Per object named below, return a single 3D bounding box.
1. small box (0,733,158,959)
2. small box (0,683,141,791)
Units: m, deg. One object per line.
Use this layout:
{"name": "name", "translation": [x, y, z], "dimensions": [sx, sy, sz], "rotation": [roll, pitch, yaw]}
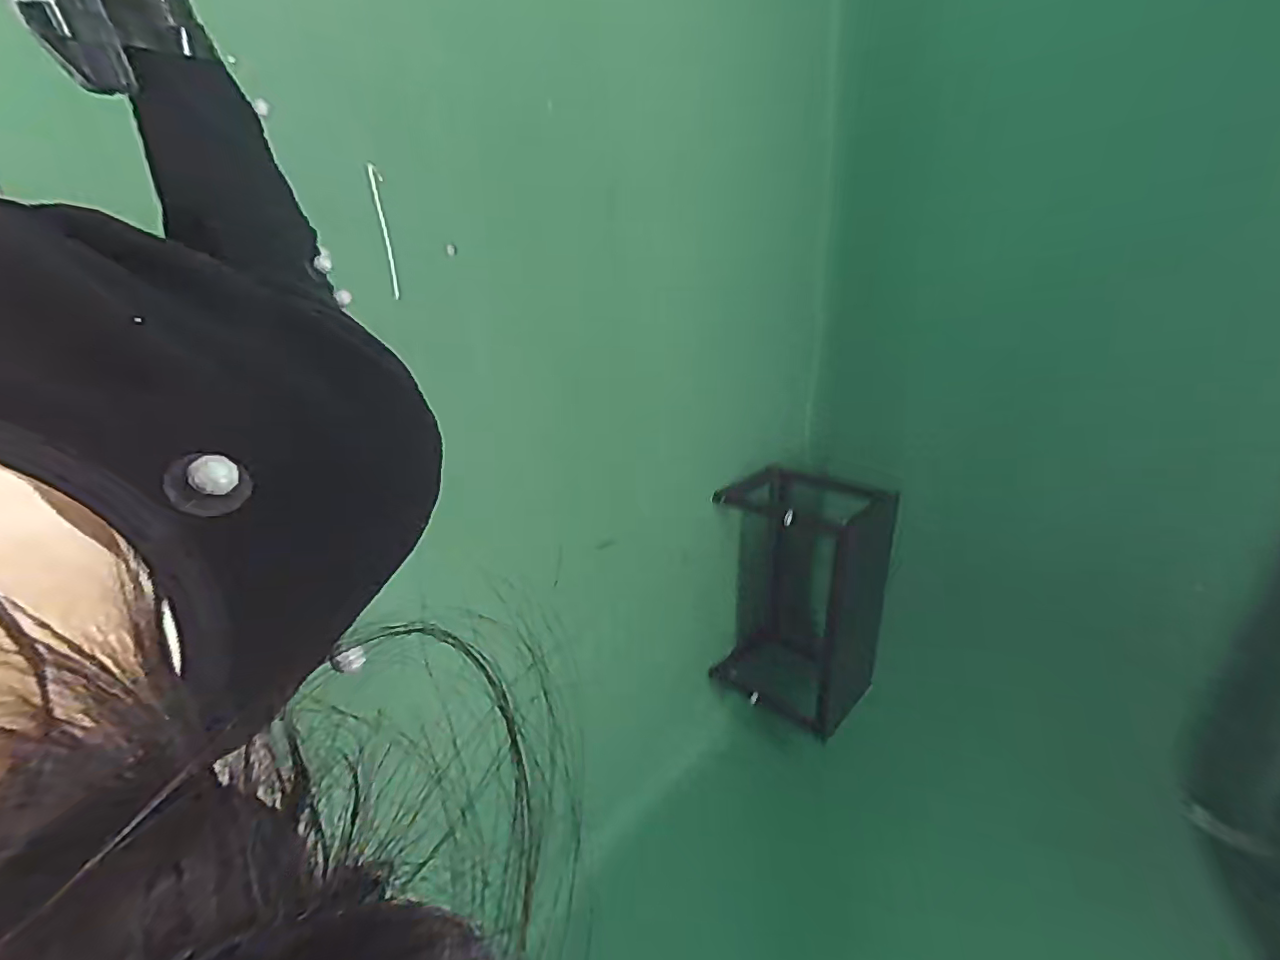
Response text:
{"name": "small box", "translation": [-0.831, 0.501, 0.751], "dimensions": [0.179, 0.176, 0.168], "rotation": [-40, 130, -34]}
{"name": "small box", "translation": [-0.951, 0.466, 0.859], "dimensions": [0.179, 0.176, 0.168], "rotation": [-35, 127, -36]}
